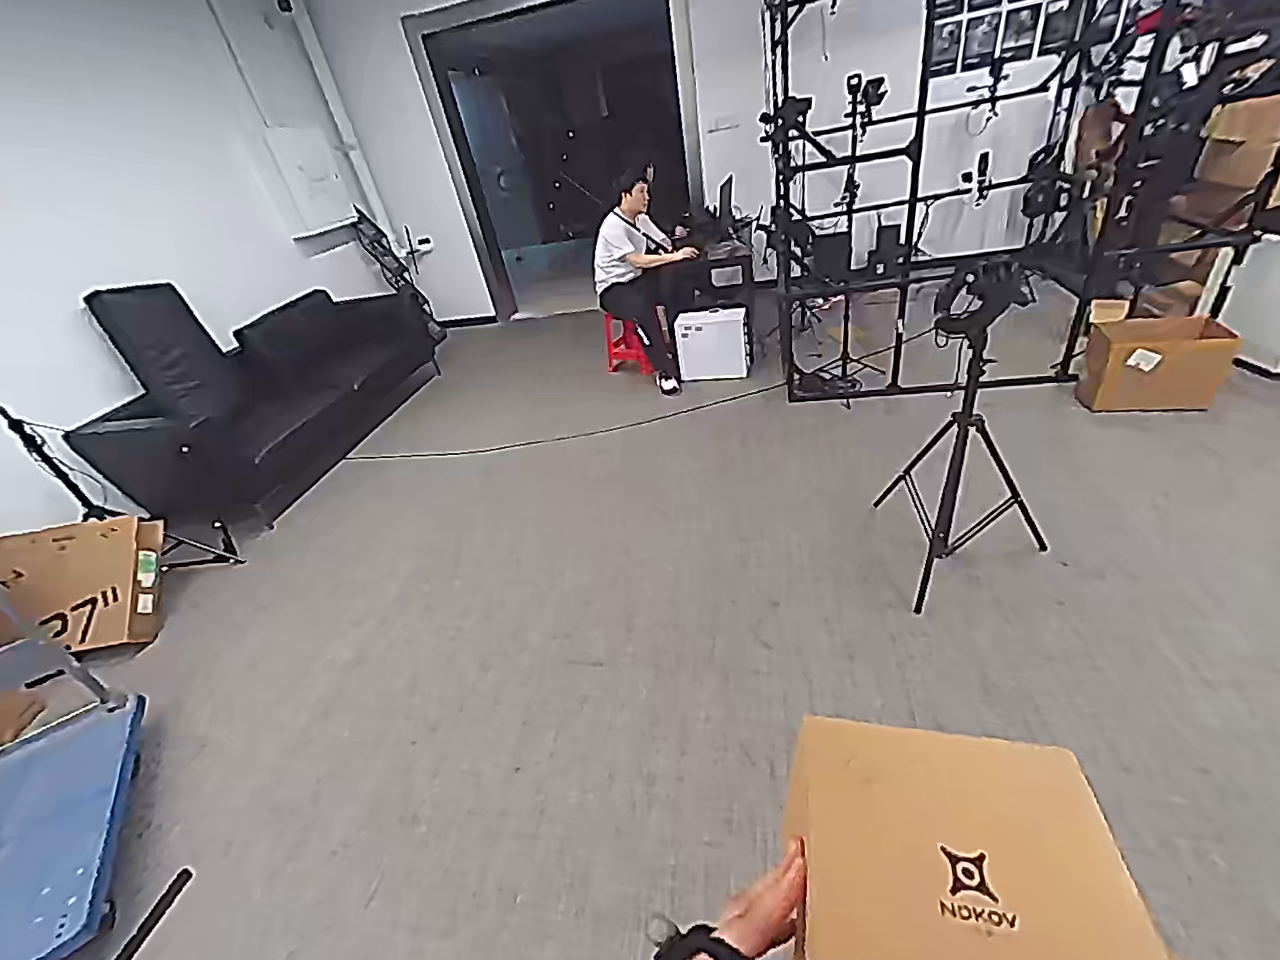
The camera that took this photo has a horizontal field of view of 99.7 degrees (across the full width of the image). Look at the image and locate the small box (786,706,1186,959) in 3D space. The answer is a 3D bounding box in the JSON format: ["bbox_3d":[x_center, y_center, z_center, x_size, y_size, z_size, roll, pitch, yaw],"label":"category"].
[{"bbox_3d":[0.181,0.272,0.328,0.168,0.176,0.179,2,35,11],"label":"small box"}]
